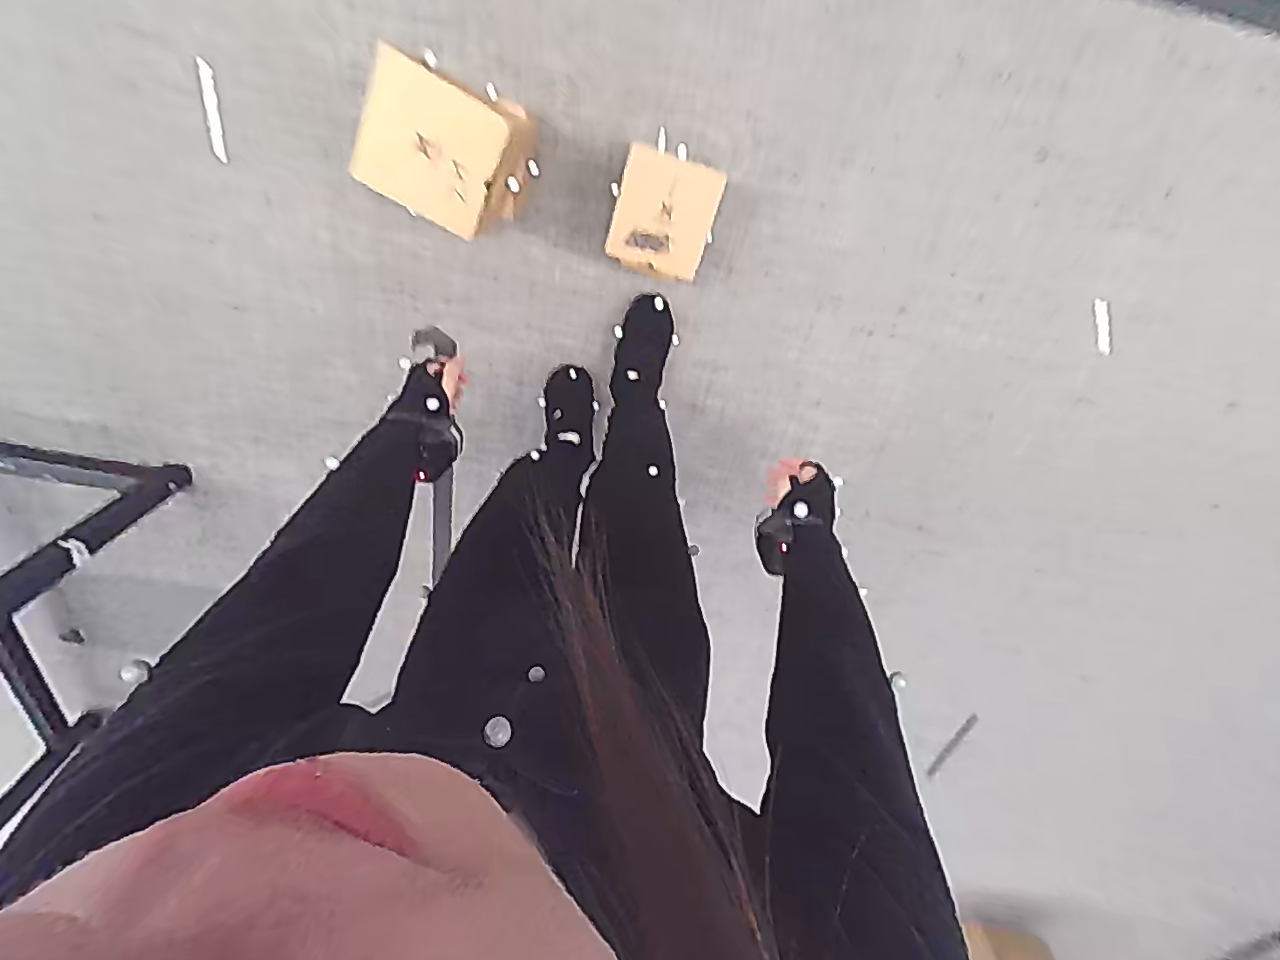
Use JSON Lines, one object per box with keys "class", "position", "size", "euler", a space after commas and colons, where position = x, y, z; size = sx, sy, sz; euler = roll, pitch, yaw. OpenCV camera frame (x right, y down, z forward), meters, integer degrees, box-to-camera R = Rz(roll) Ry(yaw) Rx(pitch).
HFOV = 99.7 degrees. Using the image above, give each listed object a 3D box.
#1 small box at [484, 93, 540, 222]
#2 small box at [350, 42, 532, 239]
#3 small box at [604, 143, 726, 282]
{"class": "small box", "position": [-0.278, -0.564, 0.926], "size": [0.179, 0.176, 0.168], "euler": [14, 121, -10]}
{"class": "small box", "position": [-0.278, -0.480, 0.783], "size": [0.179, 0.176, 0.168], "euler": [26, 119, -15]}
{"class": "small box", "position": [0.040, -0.485, 0.978], "size": [0.168, 0.176, 0.179], "euler": [15, 120, -10]}
